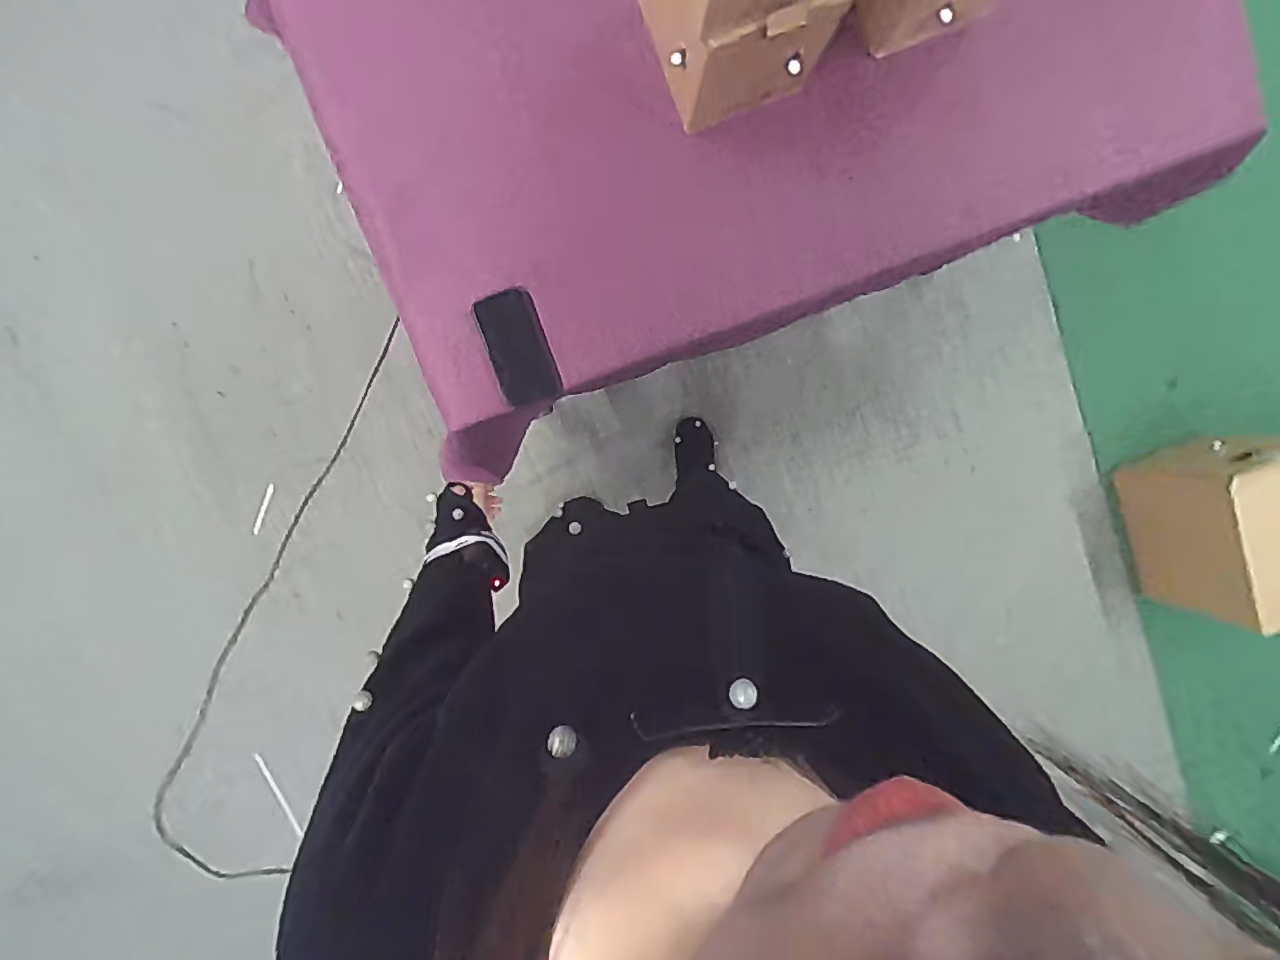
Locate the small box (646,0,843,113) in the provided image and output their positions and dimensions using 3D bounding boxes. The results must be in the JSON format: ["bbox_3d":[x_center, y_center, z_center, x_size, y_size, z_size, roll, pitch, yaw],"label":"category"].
[{"bbox_3d":[0.112,-0.559,0.614,0.168,0.176,0.179,-21,97,-1],"label":"small box"}]

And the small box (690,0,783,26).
[{"bbox_3d":[0.107,-0.546,0.449,0.168,0.176,0.179,-22,97,0],"label":"small box"}]

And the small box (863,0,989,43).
[{"bbox_3d":[0.356,-0.663,0.614,0.168,0.176,0.179,-21,98,0],"label":"small box"}]
